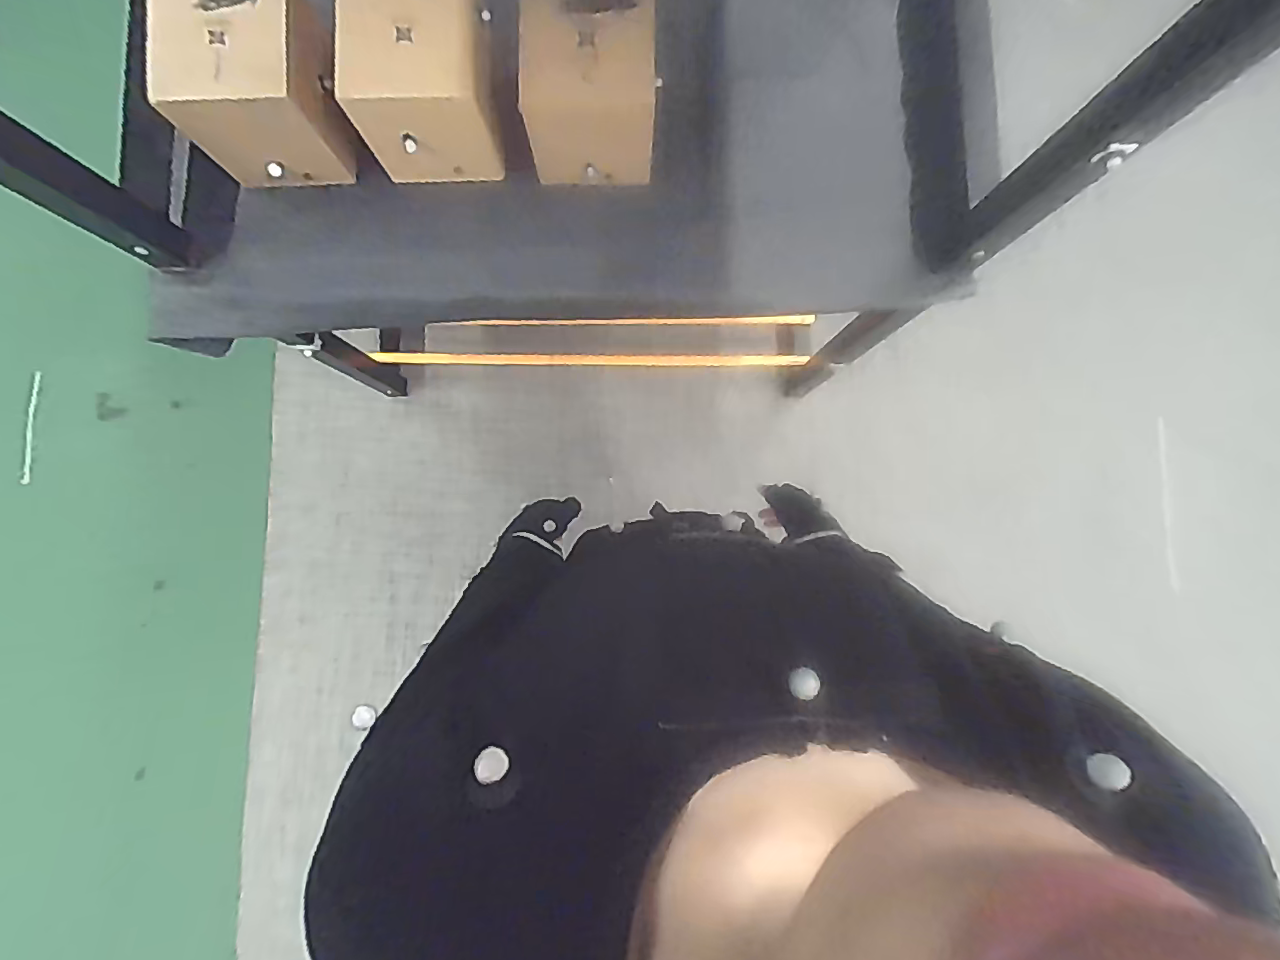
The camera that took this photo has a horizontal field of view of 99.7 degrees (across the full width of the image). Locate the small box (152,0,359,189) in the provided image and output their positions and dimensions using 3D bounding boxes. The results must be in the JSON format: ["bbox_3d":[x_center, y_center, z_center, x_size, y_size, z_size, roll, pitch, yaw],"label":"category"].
[{"bbox_3d":[-0.501,-0.526,0.729,0.168,0.176,0.179,-3,86,-1],"label":"small box"}]
